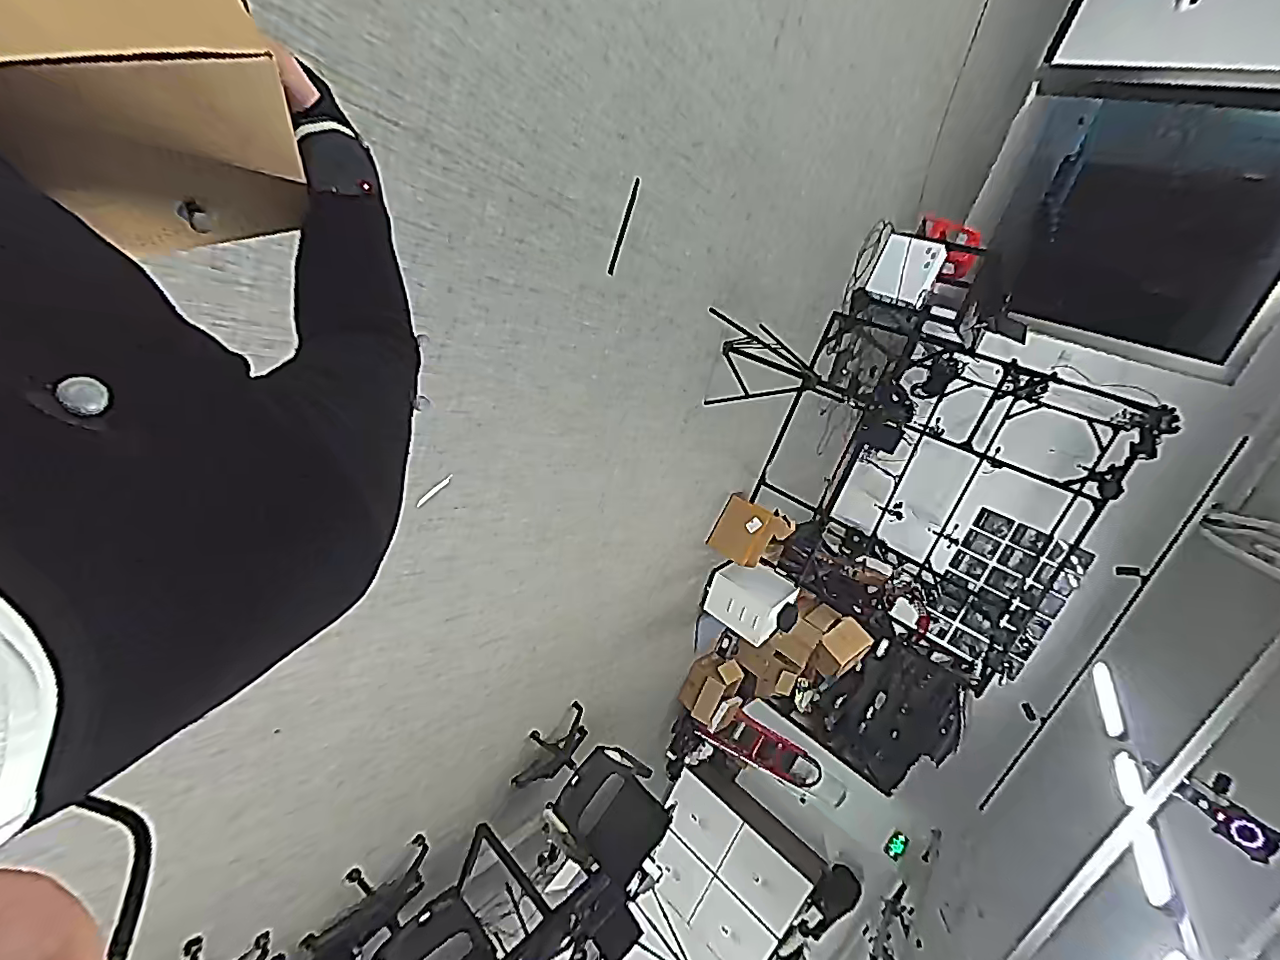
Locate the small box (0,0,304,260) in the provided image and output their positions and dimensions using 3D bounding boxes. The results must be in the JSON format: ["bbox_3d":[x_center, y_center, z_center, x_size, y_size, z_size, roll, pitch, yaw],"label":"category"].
[{"bbox_3d":[-0.387,-0.302,0.419,0.179,0.168,0.176,-26,174,-27],"label":"small box"}]
